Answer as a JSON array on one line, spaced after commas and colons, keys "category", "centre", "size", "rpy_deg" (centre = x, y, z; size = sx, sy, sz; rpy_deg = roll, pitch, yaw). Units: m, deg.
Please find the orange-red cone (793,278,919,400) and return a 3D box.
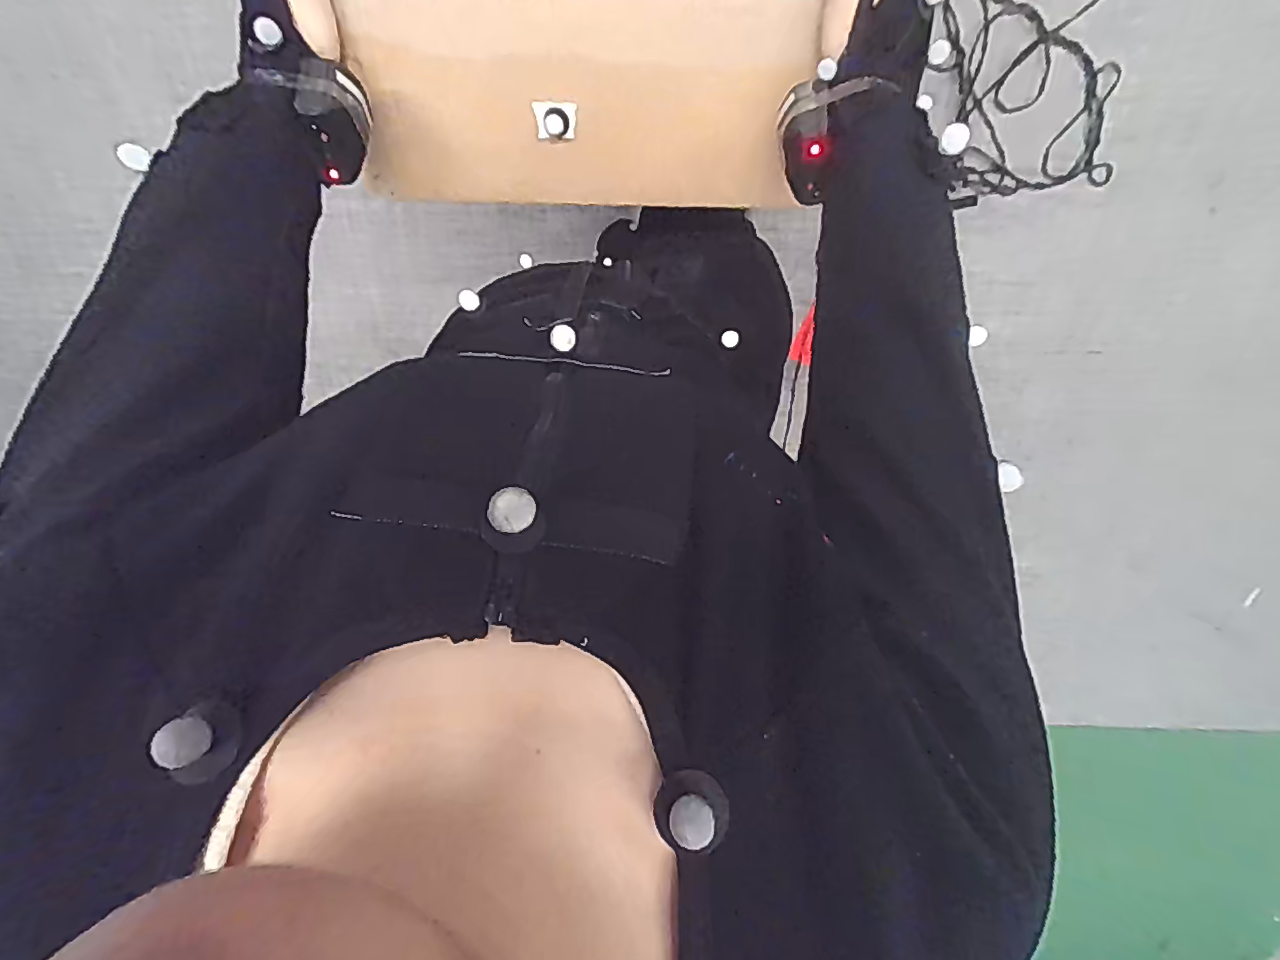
[{"category": "orange-red cone", "centre": [0.461, -0.243, 1.063], "size": [0.199, 0.360, 0.198], "rpy_deg": [18, 120, -9]}]
